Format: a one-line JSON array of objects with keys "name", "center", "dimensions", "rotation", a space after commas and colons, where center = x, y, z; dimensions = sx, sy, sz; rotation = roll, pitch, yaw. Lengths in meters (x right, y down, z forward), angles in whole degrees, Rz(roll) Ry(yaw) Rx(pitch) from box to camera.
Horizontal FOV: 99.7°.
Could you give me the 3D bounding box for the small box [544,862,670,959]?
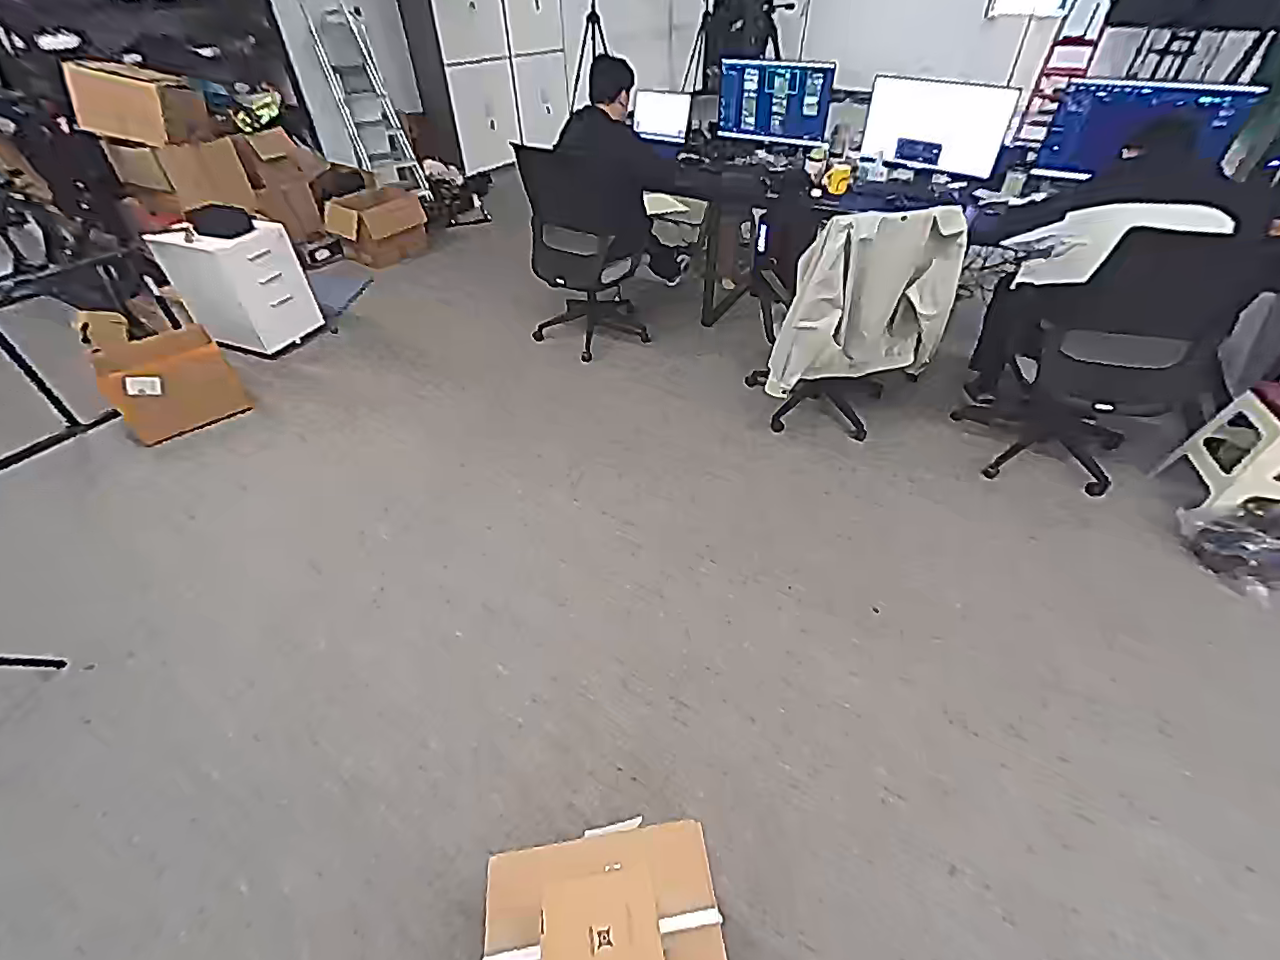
[{"name": "small box", "center": [-0.049, 0.734, 0.850], "dimensions": [0.179, 0.176, 0.168], "rotation": [-8, 44, -8]}]
